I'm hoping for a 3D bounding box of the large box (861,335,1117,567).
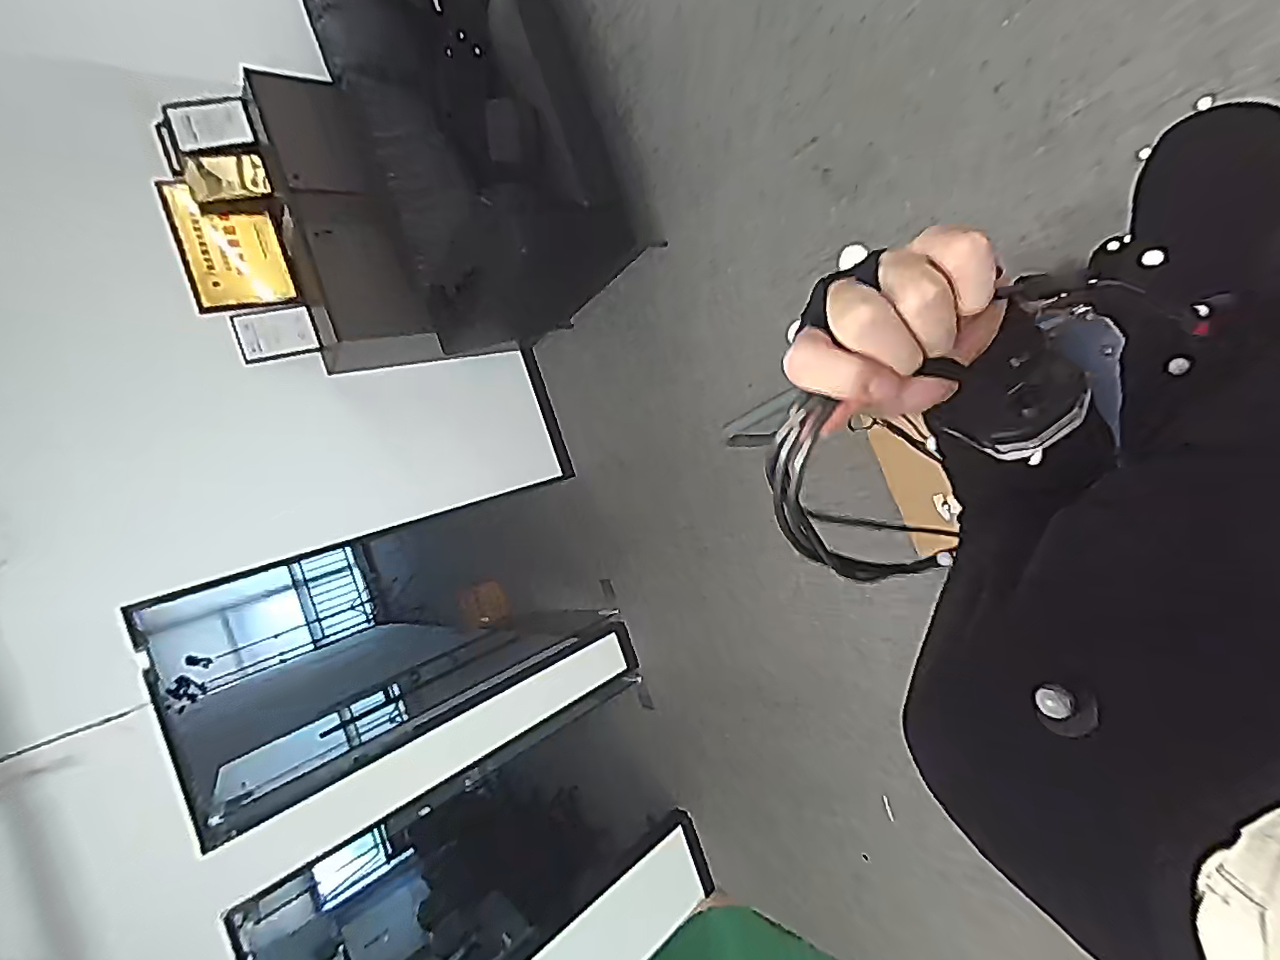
[{"bbox_3d":[0.777,-0.064,1.213,0.320,0.320,0.408,-26,84,52],"label":"large box"}]
